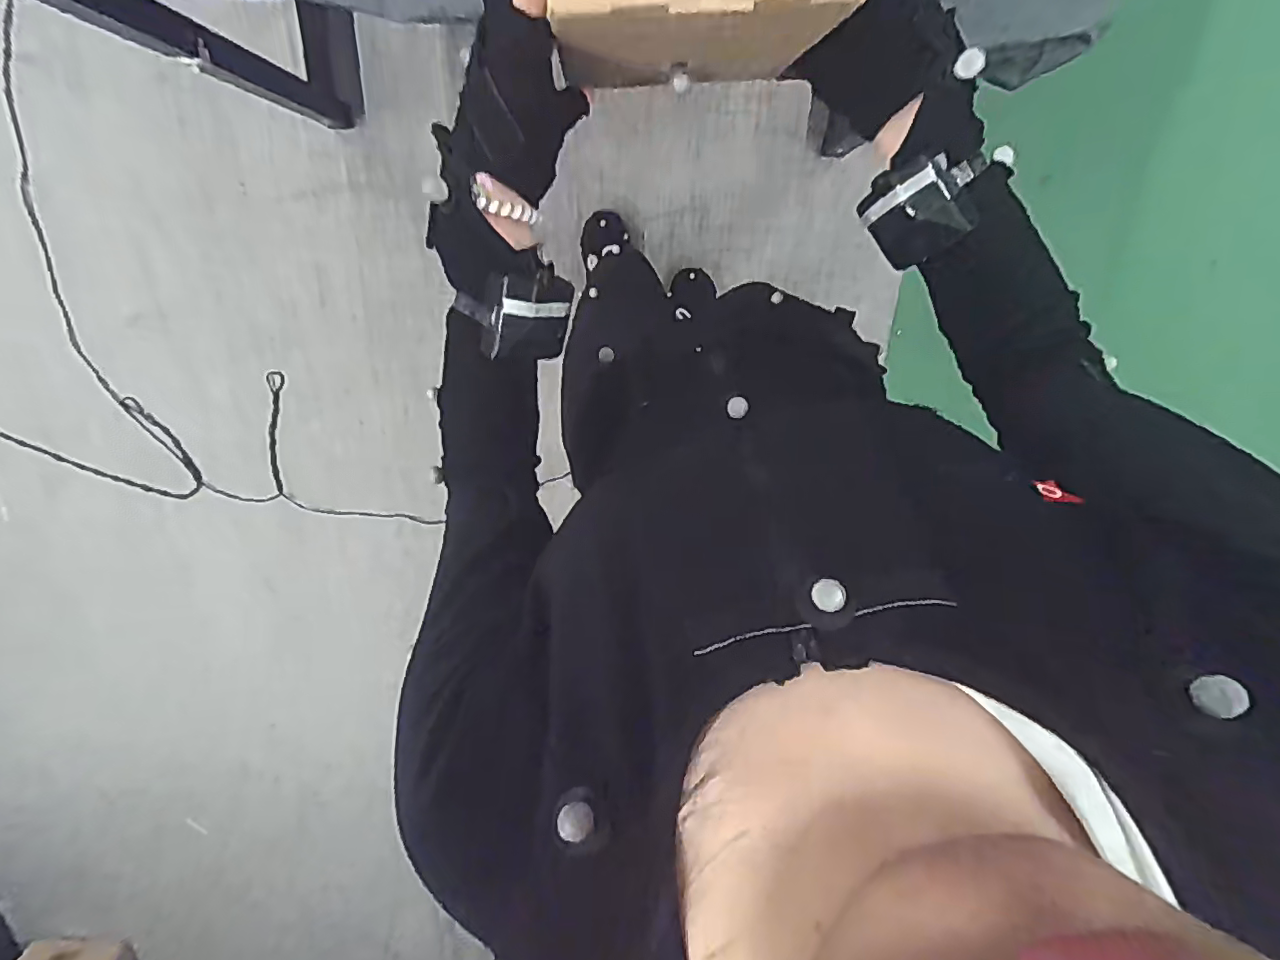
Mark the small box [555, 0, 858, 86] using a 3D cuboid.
[{"bbox_3d":[0.028,-0.354,0.309,0.168,0.176,0.179,-4,115,-3],"label":"small box"}]
